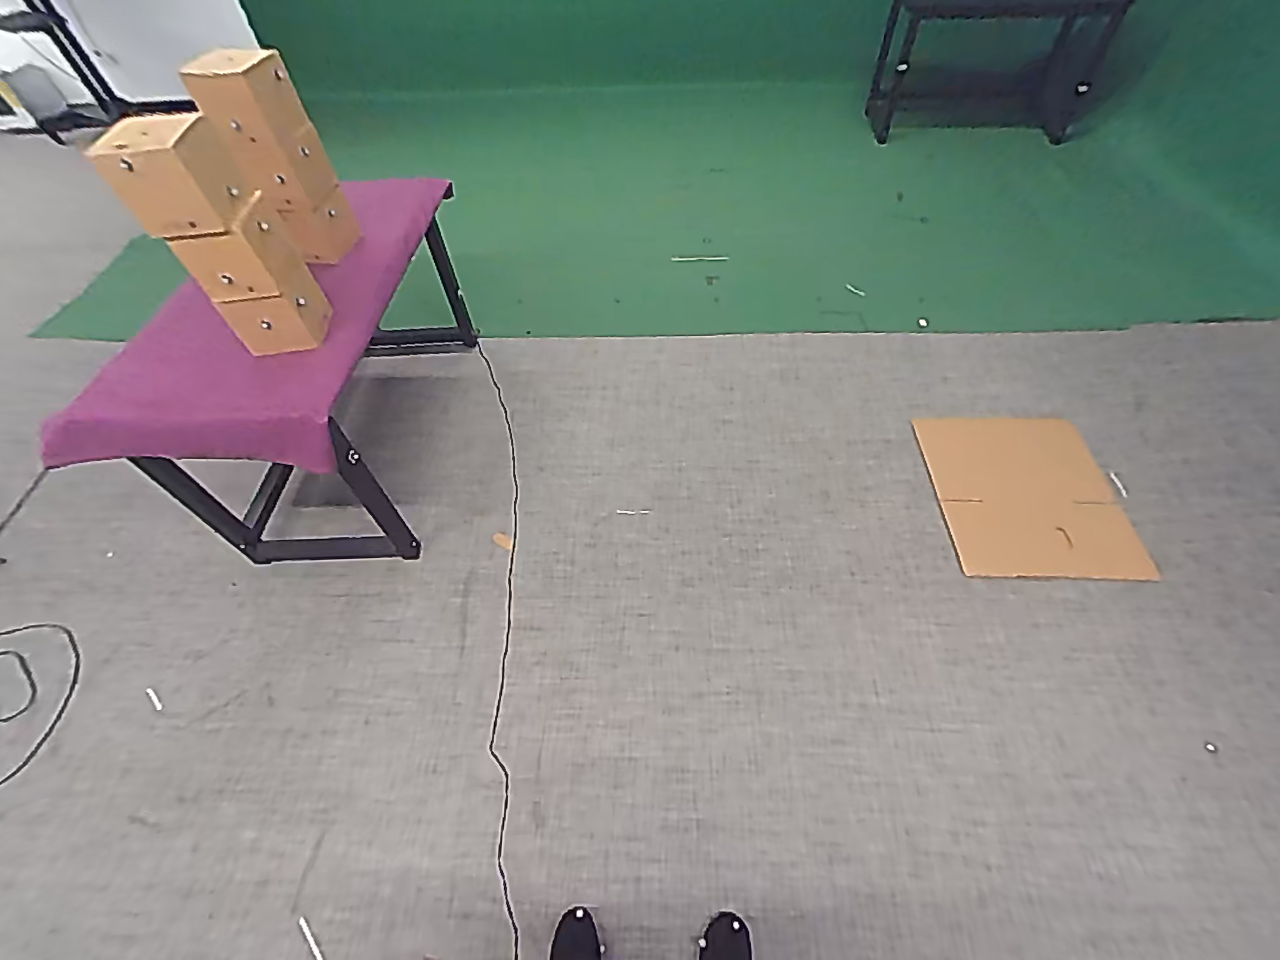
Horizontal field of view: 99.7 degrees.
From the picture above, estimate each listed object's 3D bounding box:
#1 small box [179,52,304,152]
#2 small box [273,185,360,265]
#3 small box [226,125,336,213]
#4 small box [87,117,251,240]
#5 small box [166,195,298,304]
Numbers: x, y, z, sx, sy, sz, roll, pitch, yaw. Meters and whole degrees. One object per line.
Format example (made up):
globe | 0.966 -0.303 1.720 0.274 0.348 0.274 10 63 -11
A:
small box | -1.012 -0.977 1.399 0.168 0.176 0.179 4 53 5
small box | -1.001 -0.782 1.661 0.168 0.176 0.179 5 52 6
small box | -1.003 -0.879 1.530 0.168 0.176 0.179 5 53 5
small box | -0.965 -0.629 1.133 0.168 0.176 0.179 -6 53 0
small box | -0.942 -0.539 1.269 0.168 0.176 0.179 -7 54 -1
